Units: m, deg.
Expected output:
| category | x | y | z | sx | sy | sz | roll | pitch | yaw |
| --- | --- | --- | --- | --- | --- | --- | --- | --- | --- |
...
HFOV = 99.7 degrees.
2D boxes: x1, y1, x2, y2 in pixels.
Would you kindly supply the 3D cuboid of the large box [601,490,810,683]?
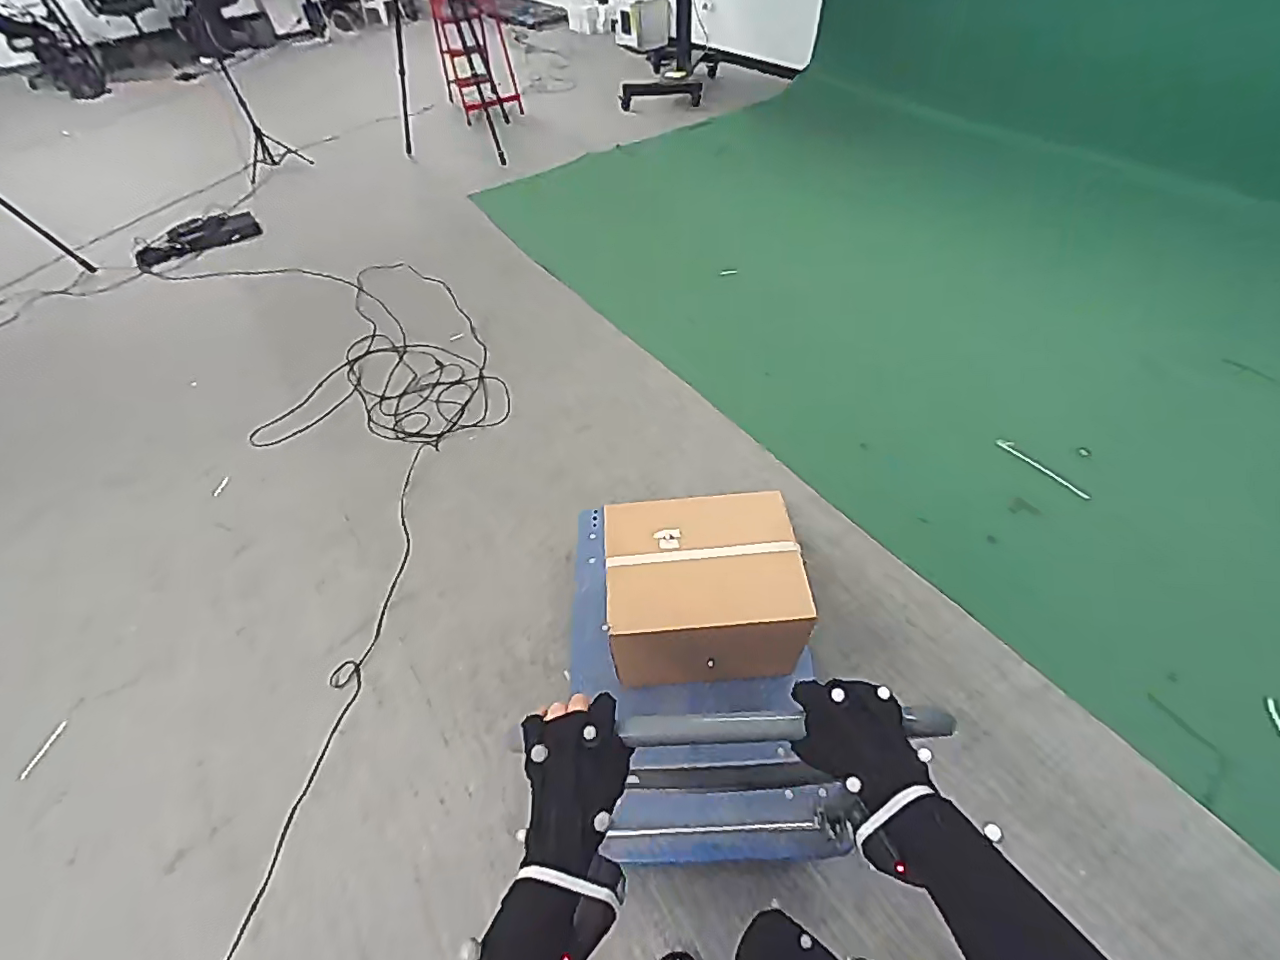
| category | x | y | z | sx | sy | sz | roll | pitch | yaw |
| --- | --- | --- | --- | --- | --- | --- | --- | --- | --- |
| large box | 0.132 | 0.253 | 1.249 | 0.408 | 0.320 | 0.320 | -6 | 50 | 0 |
